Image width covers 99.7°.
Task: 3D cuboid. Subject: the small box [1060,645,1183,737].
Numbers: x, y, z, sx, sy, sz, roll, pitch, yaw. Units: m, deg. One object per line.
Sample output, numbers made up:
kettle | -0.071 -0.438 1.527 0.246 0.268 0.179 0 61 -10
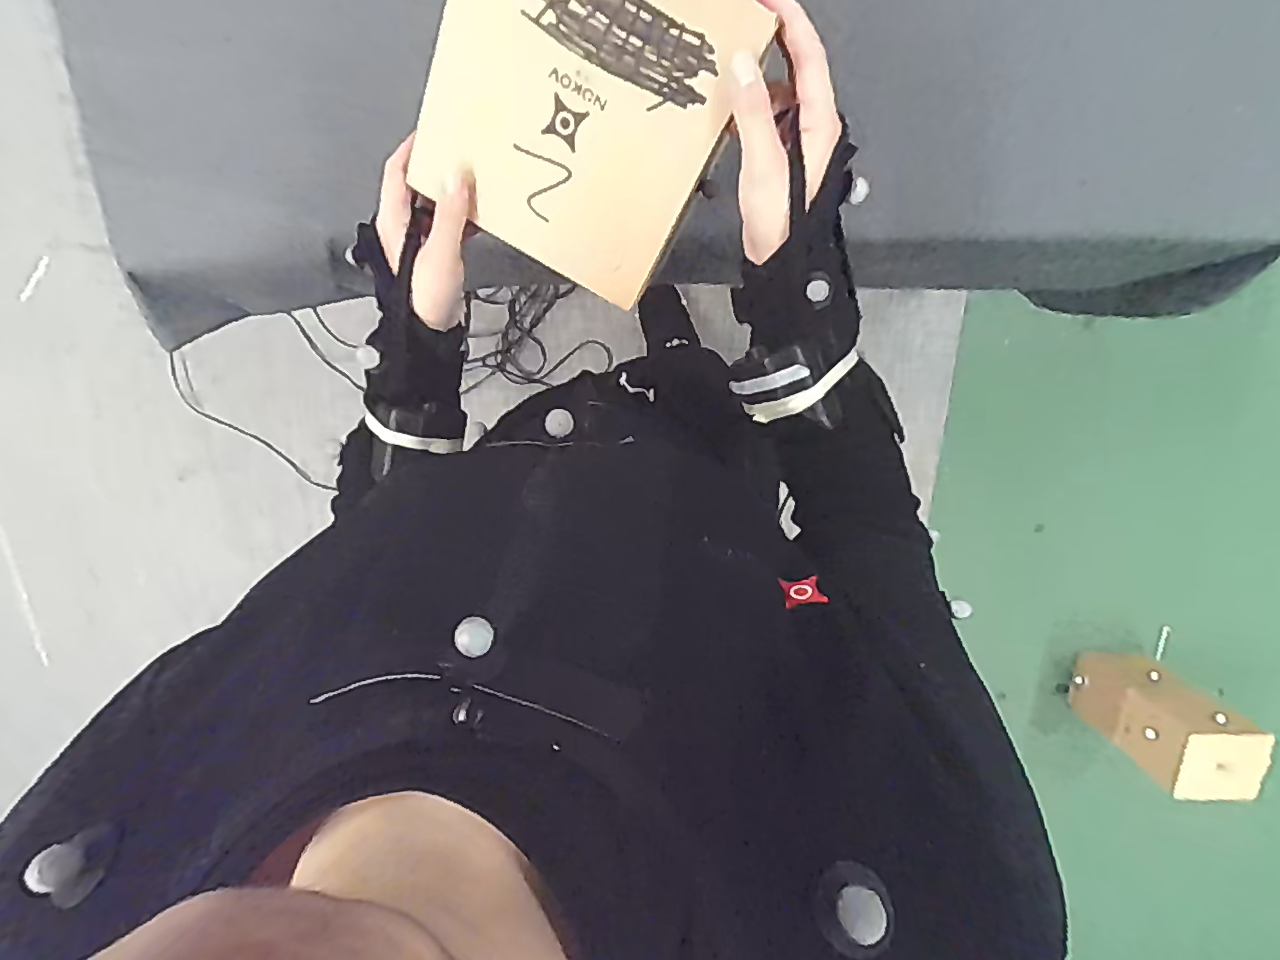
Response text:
small box | 1.254 0.545 1.406 0.179 0.176 0.168 0 105 3

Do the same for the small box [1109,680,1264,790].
small box | 1.243 0.579 1.247 0.179 0.176 0.168 -1 105 2
